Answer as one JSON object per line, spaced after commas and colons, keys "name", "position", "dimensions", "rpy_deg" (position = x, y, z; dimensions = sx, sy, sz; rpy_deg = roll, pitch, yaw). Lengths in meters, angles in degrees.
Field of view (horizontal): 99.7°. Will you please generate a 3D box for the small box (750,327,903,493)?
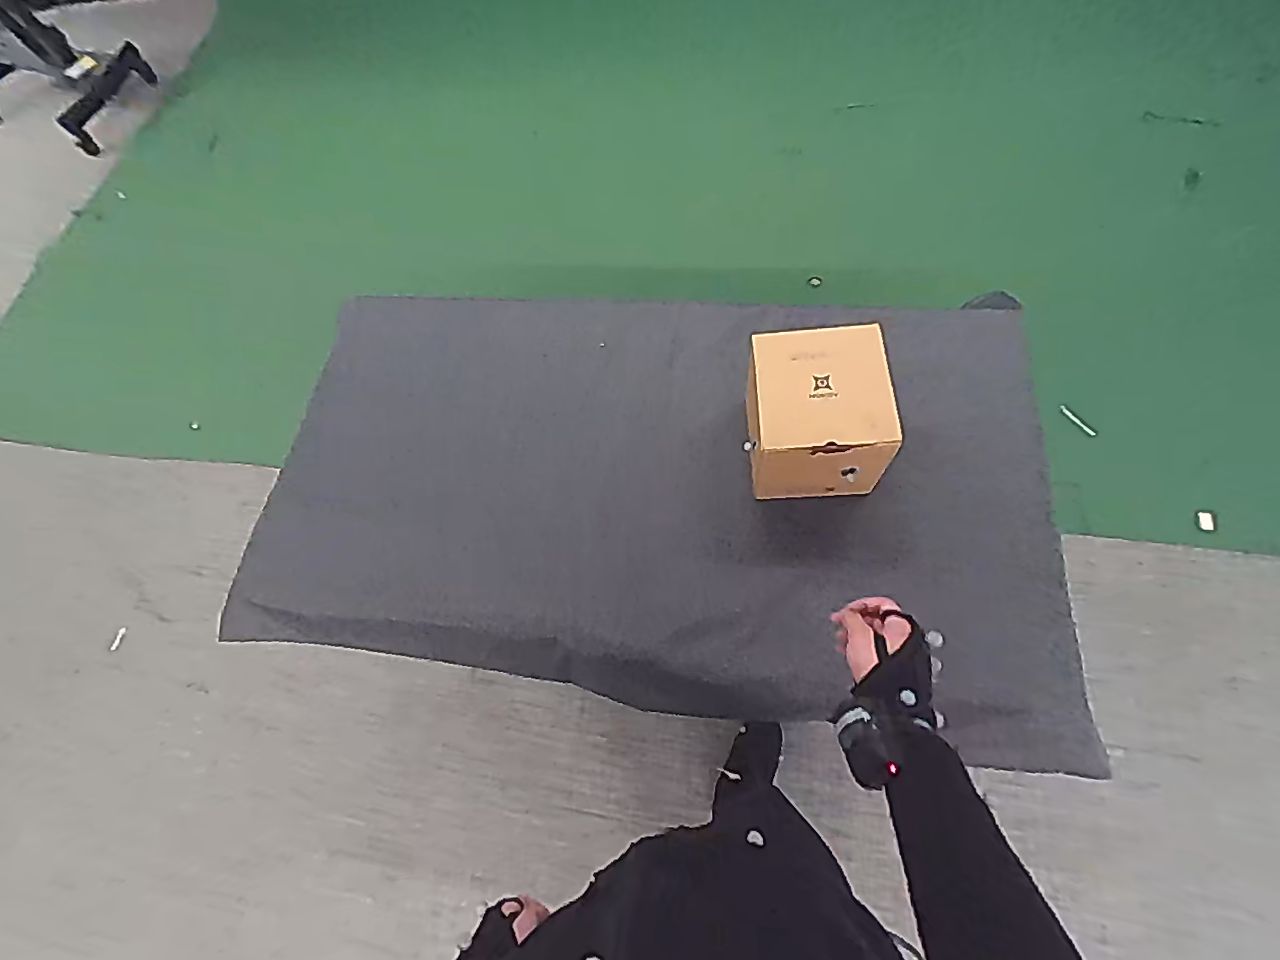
{"name": "small box", "position": [0.246, -0.087, 0.758], "dimensions": [0.168, 0.176, 0.179], "rpy_deg": [-3, 66, 6]}
